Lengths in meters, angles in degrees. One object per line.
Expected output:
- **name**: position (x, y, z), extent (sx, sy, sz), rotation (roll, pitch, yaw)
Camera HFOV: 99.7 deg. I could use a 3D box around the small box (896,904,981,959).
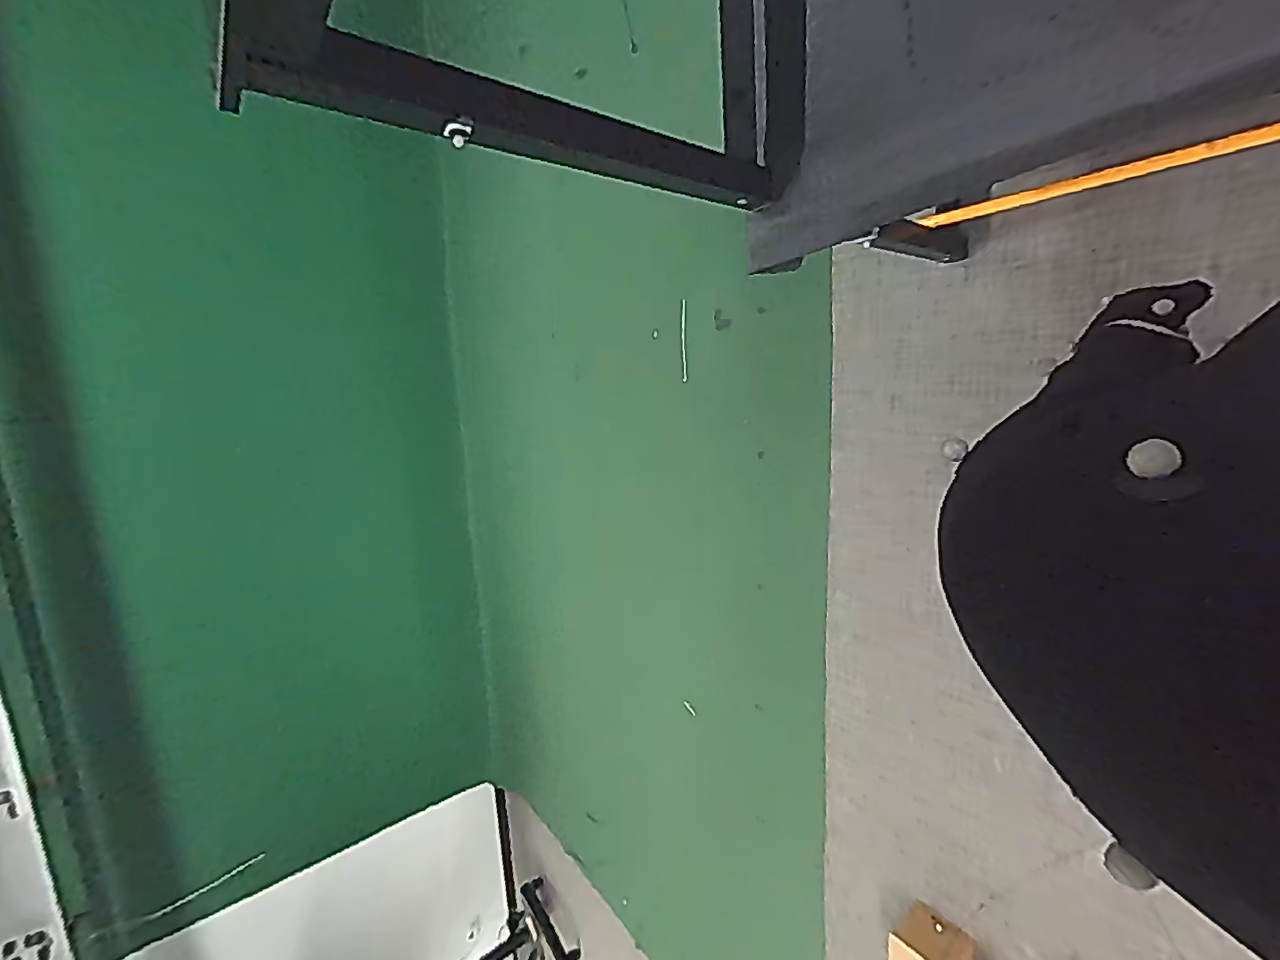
- **small box**: position (0.865, 1.403, 1.568), extent (0.168, 0.176, 0.179), rotation (10, 104, 52)
